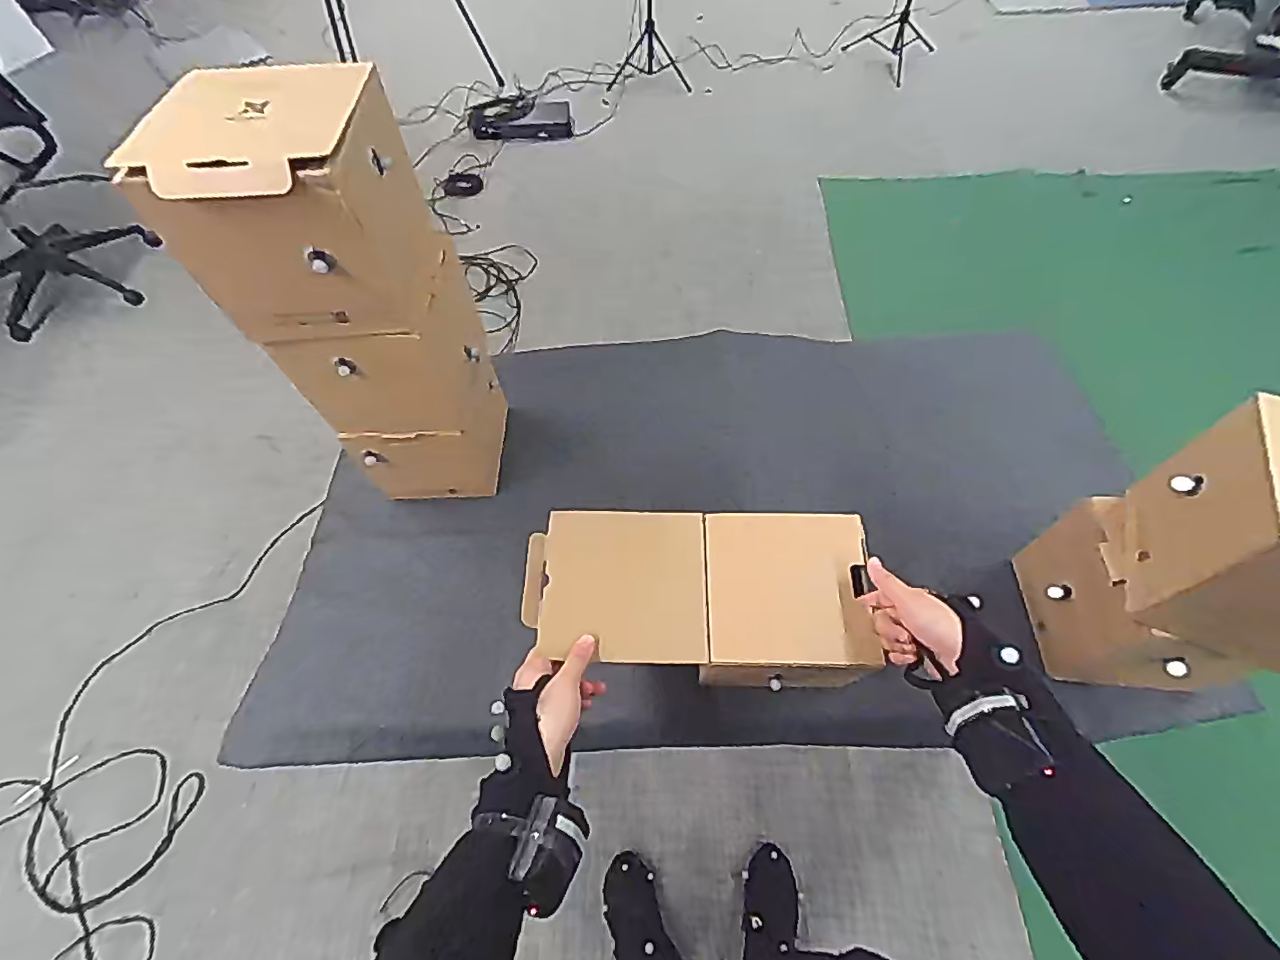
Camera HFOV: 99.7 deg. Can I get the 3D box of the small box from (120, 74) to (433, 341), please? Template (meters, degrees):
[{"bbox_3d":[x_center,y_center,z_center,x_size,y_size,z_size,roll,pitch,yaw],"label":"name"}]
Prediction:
[{"bbox_3d":[-0.313,-0.248,0.516,0.168,0.176,0.179,-4,58,-2],"label":"small box"}]

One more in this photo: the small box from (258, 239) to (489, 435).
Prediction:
[{"bbox_3d":[-0.301,-0.165,0.655,0.179,0.176,0.168,-1,60,1],"label":"small box"}]

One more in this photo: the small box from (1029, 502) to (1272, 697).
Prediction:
[{"bbox_3d":[0.591,0.142,0.623,0.179,0.176,0.168,3,56,5],"label":"small box"}]

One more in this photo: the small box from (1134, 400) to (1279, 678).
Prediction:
[{"bbox_3d":[0.588,0.064,0.478,0.179,0.176,0.168,22,59,15],"label":"small box"}]

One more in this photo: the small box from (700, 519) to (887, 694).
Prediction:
[{"bbox_3d":[0.161,0.153,0.633,0.179,0.176,0.168,-1,63,5],"label":"small box"}]
